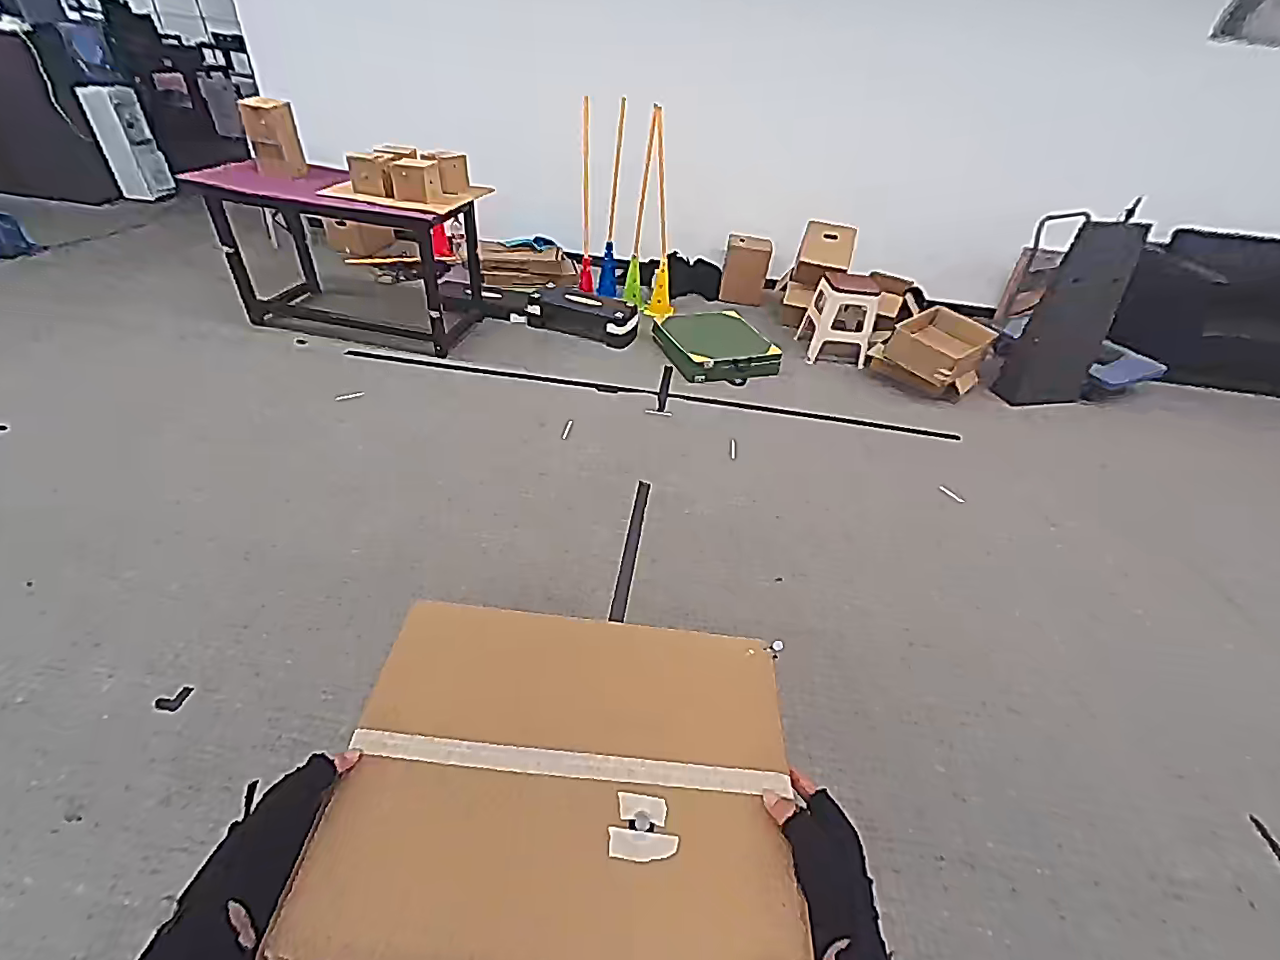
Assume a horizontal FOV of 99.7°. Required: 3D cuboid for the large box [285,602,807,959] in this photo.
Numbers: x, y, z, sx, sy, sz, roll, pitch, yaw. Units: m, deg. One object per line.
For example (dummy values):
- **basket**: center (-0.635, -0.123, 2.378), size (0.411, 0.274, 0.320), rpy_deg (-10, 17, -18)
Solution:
- **large box**: center (-0.077, 0.372, 0.612), size (0.408, 0.320, 0.320), rpy_deg (7, 43, -1)
